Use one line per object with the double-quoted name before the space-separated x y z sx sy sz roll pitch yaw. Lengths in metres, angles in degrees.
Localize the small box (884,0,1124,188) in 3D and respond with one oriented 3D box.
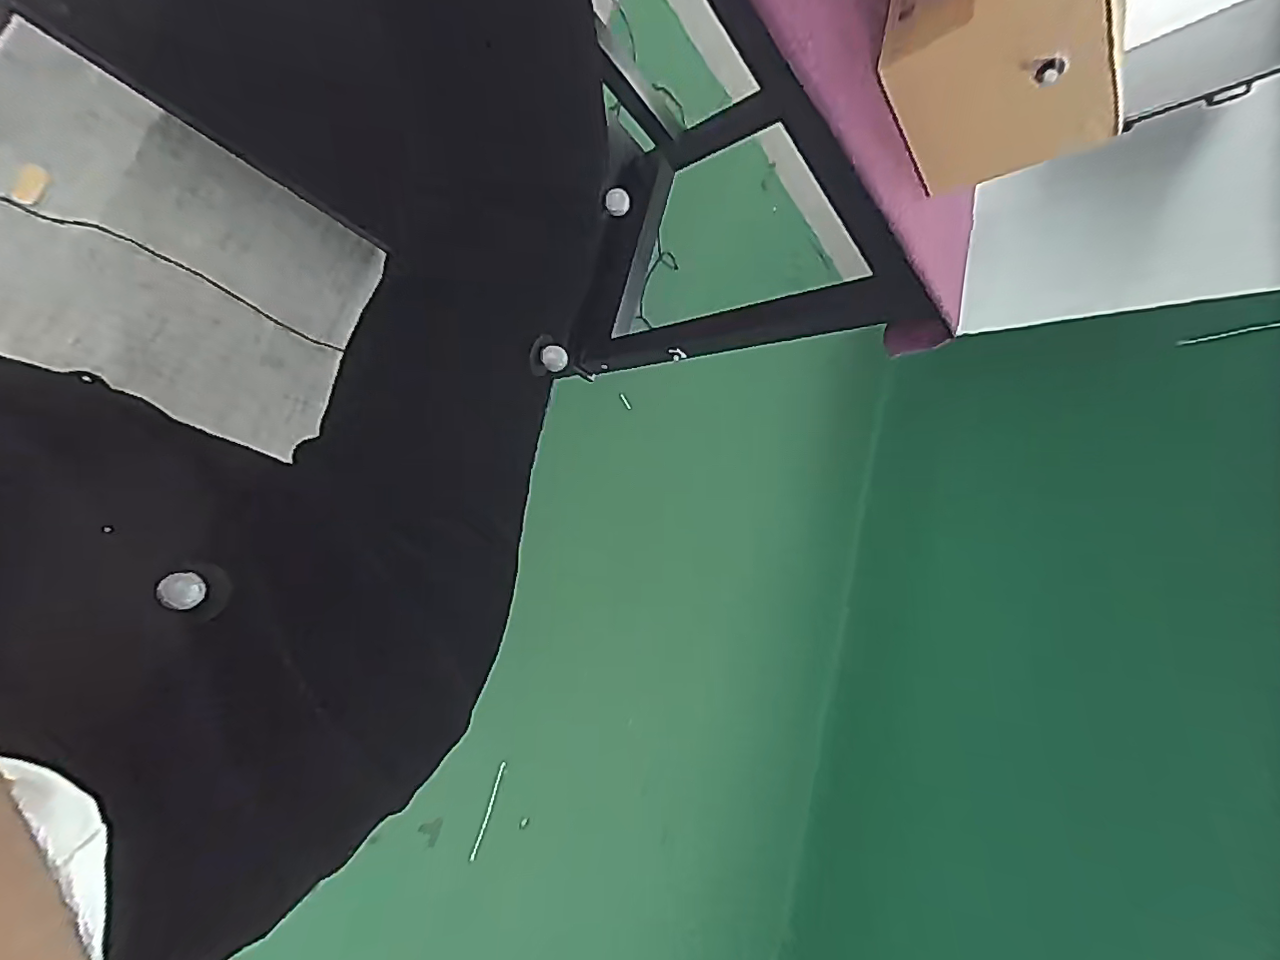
"small box" 0.358 -0.431 0.531 0.179 0.176 0.168 29 70 -43
